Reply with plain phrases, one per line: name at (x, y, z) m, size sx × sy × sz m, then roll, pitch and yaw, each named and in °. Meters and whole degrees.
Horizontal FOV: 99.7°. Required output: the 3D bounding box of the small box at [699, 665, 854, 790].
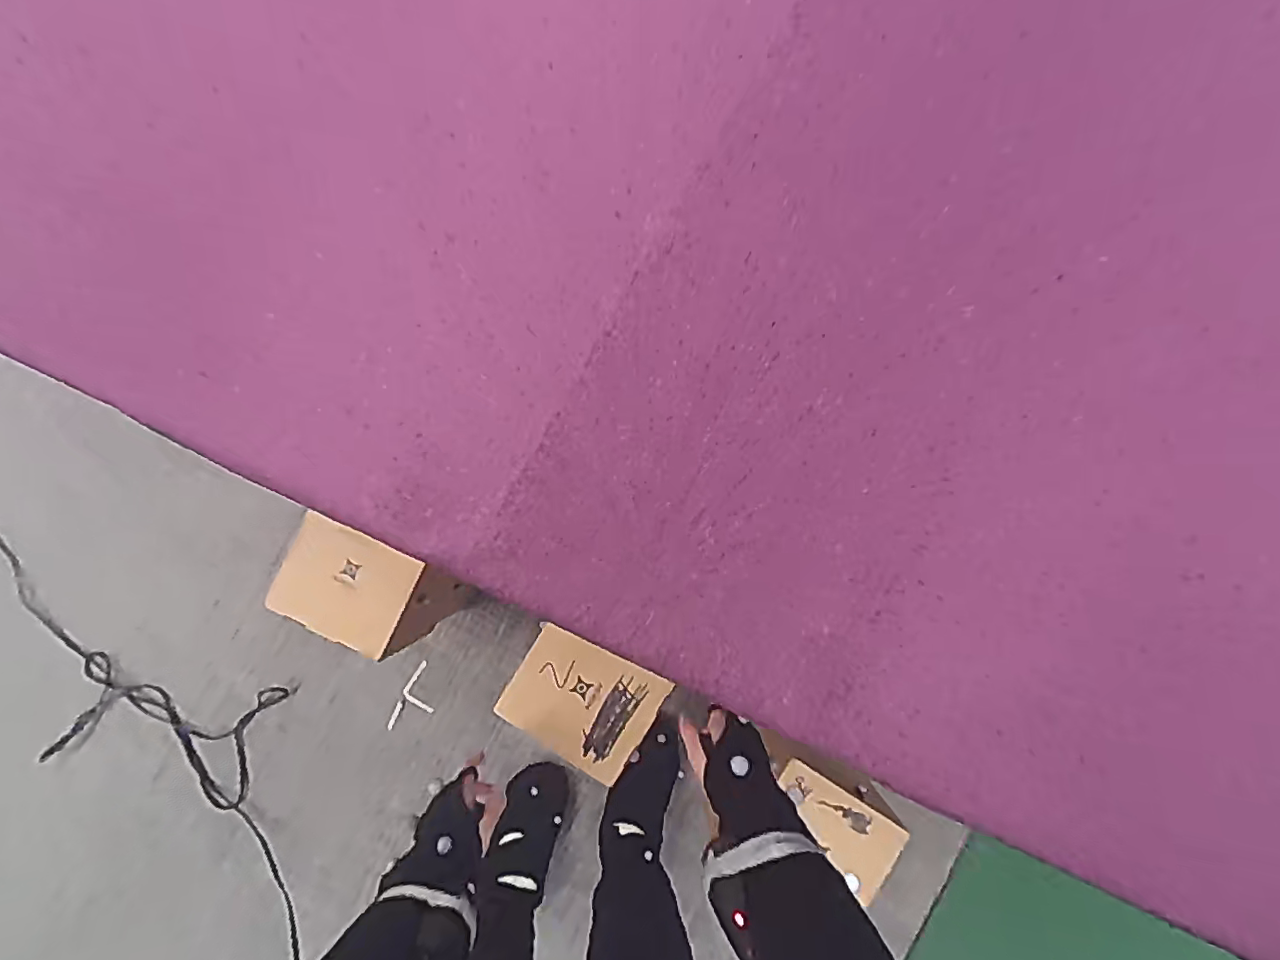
small box at (0.210, 0.441, 0.888) m, size 0.168 × 0.176 × 0.179 m, roll 37°, pitch 89°, yaw 3°

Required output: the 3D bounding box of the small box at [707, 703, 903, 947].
small box at (0.203, 0.441, 0.722) m, size 0.168 × 0.176 × 0.179 m, roll 33°, pitch 91°, yaw 1°
